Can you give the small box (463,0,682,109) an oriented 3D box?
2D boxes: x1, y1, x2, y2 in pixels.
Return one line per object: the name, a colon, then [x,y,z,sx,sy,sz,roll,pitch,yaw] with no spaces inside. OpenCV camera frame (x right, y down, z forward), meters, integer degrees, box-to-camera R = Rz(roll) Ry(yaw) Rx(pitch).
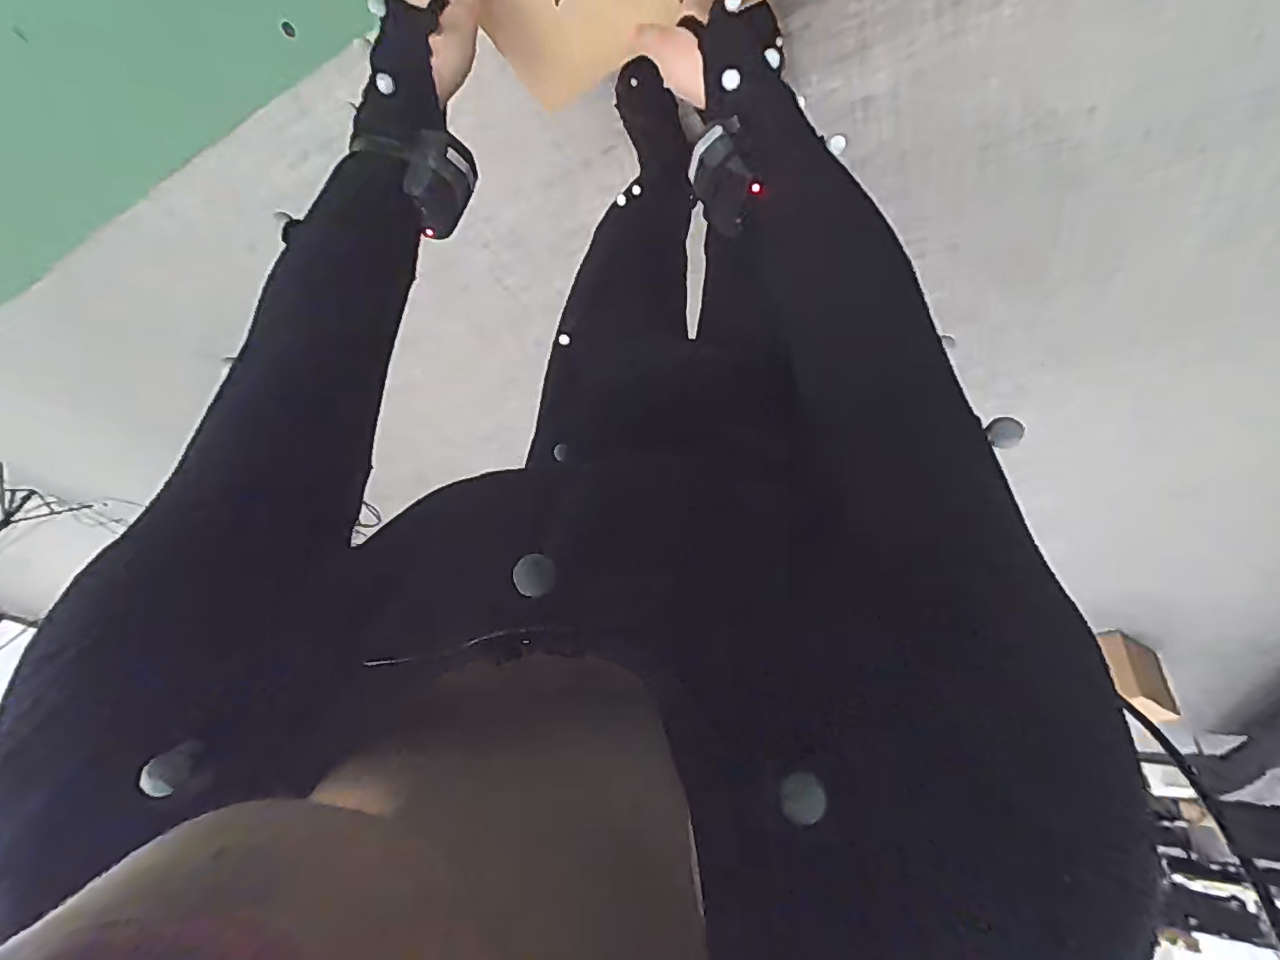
small box: [-0.067,-0.494,0.478,0.168,0.176,0.179,-12,148,31]
